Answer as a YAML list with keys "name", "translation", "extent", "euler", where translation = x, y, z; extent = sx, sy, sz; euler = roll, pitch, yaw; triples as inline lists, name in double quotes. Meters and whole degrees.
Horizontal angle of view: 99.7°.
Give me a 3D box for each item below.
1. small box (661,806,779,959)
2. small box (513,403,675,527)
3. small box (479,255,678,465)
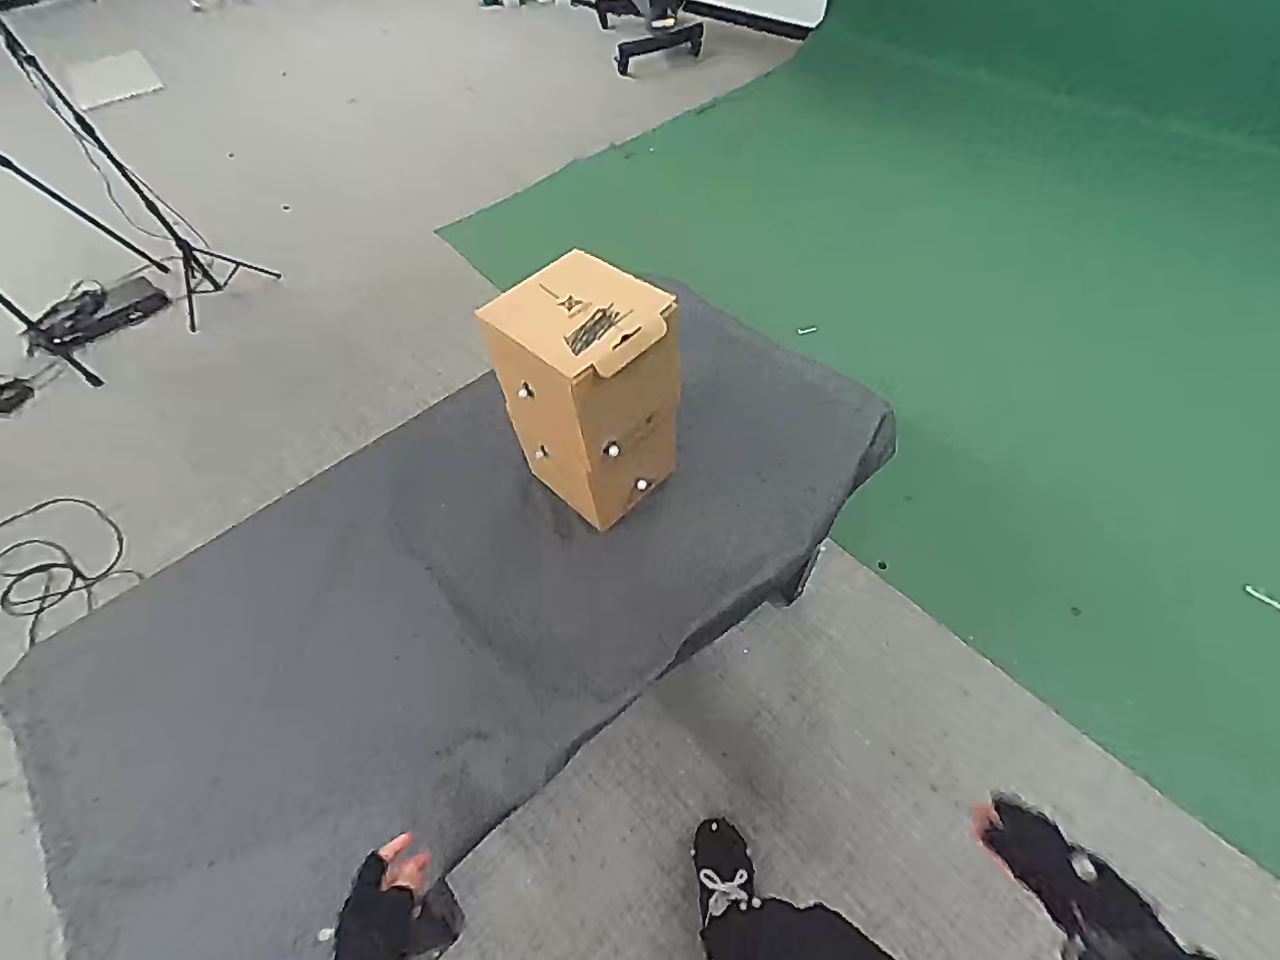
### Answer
- name: "small box"
  translation: [0.168, 0.824, 1.095]
  extent: [0.168, 0.176, 0.179]
  euler: [8, 29, 43]
- name: "small box"
  translation: [-0.063, -0.060, 0.828]
  extent: [0.168, 0.176, 0.179]
  euler: [-40, 62, -20]
- name: "small box"
  translation: [-0.065, -0.144, 0.685]
  extent: [0.168, 0.176, 0.179]
  euler: [-41, 61, -21]
